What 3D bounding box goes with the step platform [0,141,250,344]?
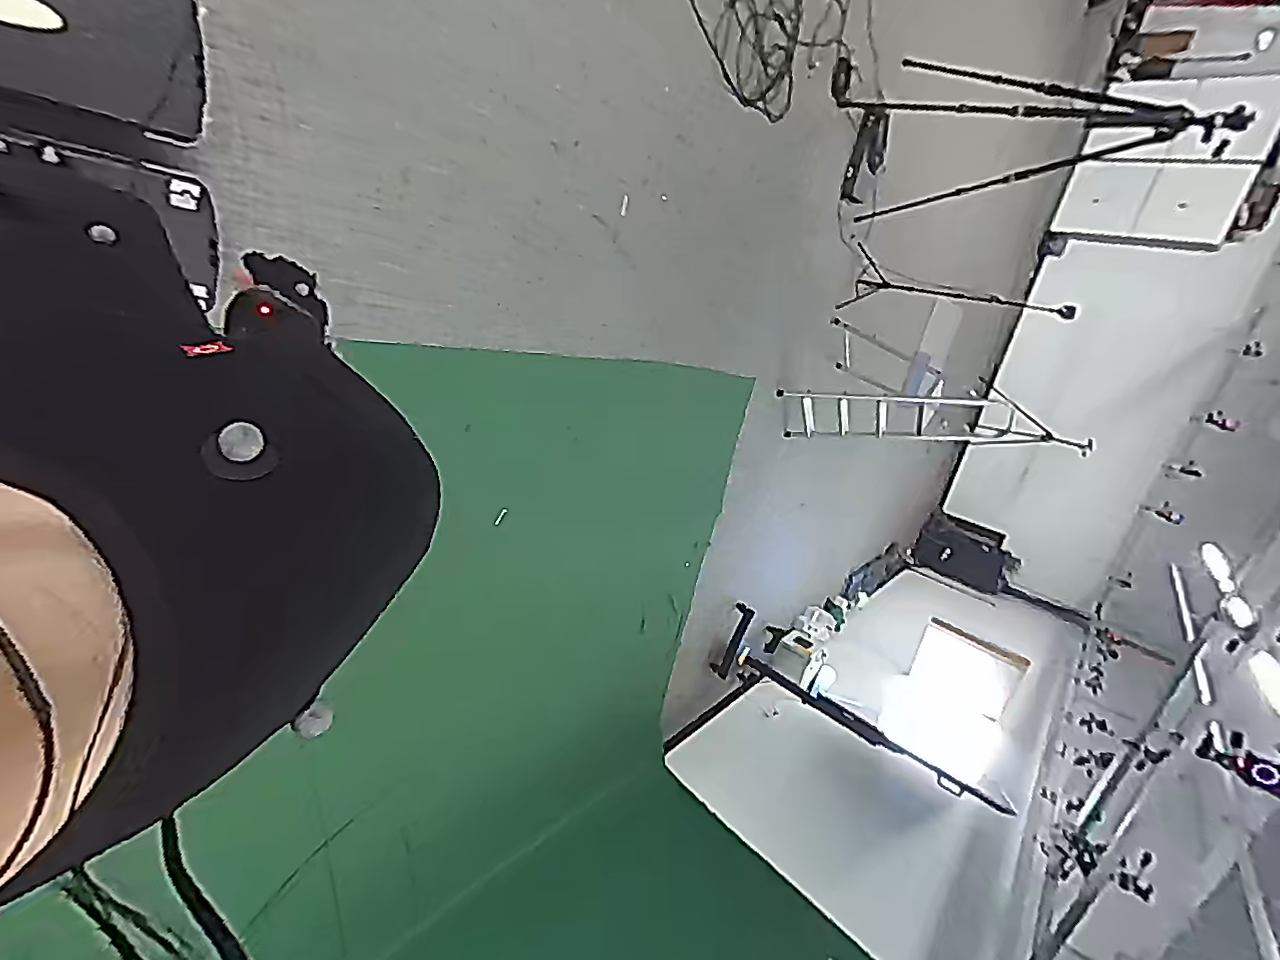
[{"bbox_3d":[-1.052,-0.397,0.853,0.684,0.204,0.286,-10,118,-49],"label":"step platform"}]
